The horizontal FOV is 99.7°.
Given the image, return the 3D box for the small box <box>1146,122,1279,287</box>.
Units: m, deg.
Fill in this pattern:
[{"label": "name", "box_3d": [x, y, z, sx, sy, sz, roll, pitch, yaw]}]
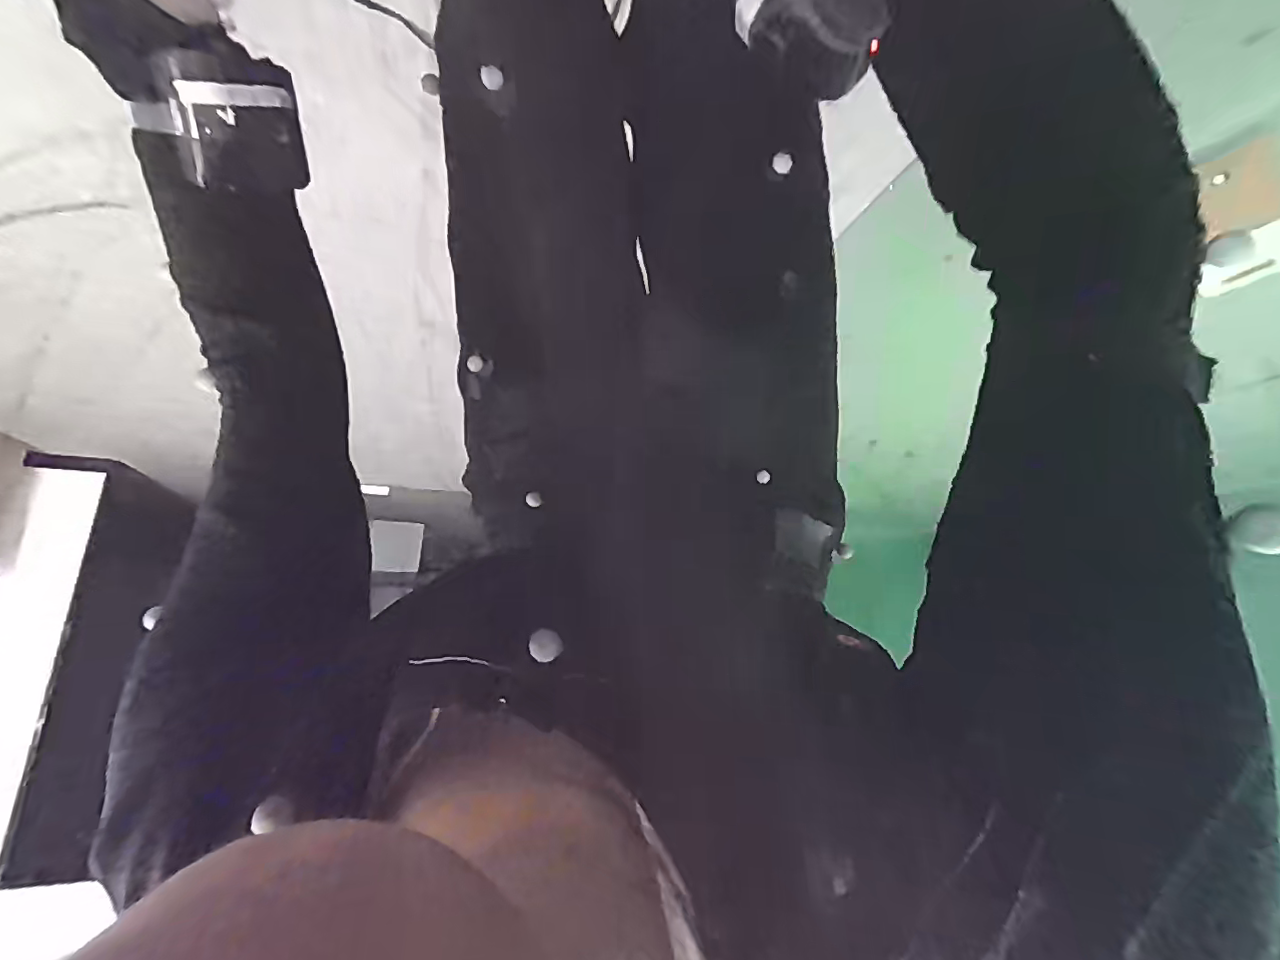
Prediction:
[{"label": "small box", "box_3d": [1.044, -0.479, 0.955, 0.179, 0.176, 0.168, 10, 162, -28]}]
